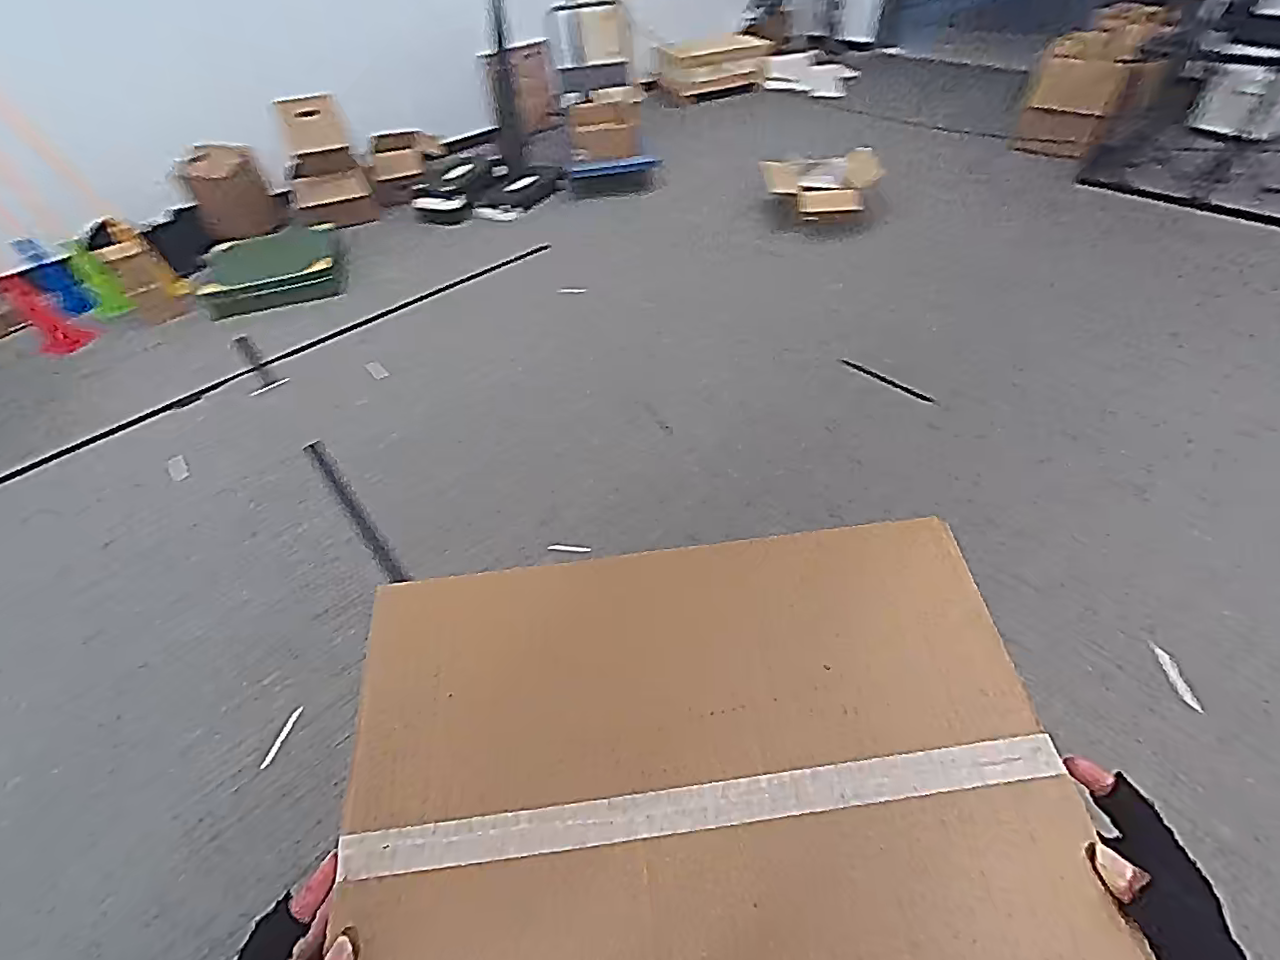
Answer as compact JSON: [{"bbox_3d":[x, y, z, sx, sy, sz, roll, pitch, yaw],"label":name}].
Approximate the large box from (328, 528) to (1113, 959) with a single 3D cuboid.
[{"bbox_3d":[0.035,0.269,0.437,0.408,0.320,0.320,-8,57,-3],"label":"large box"}]
